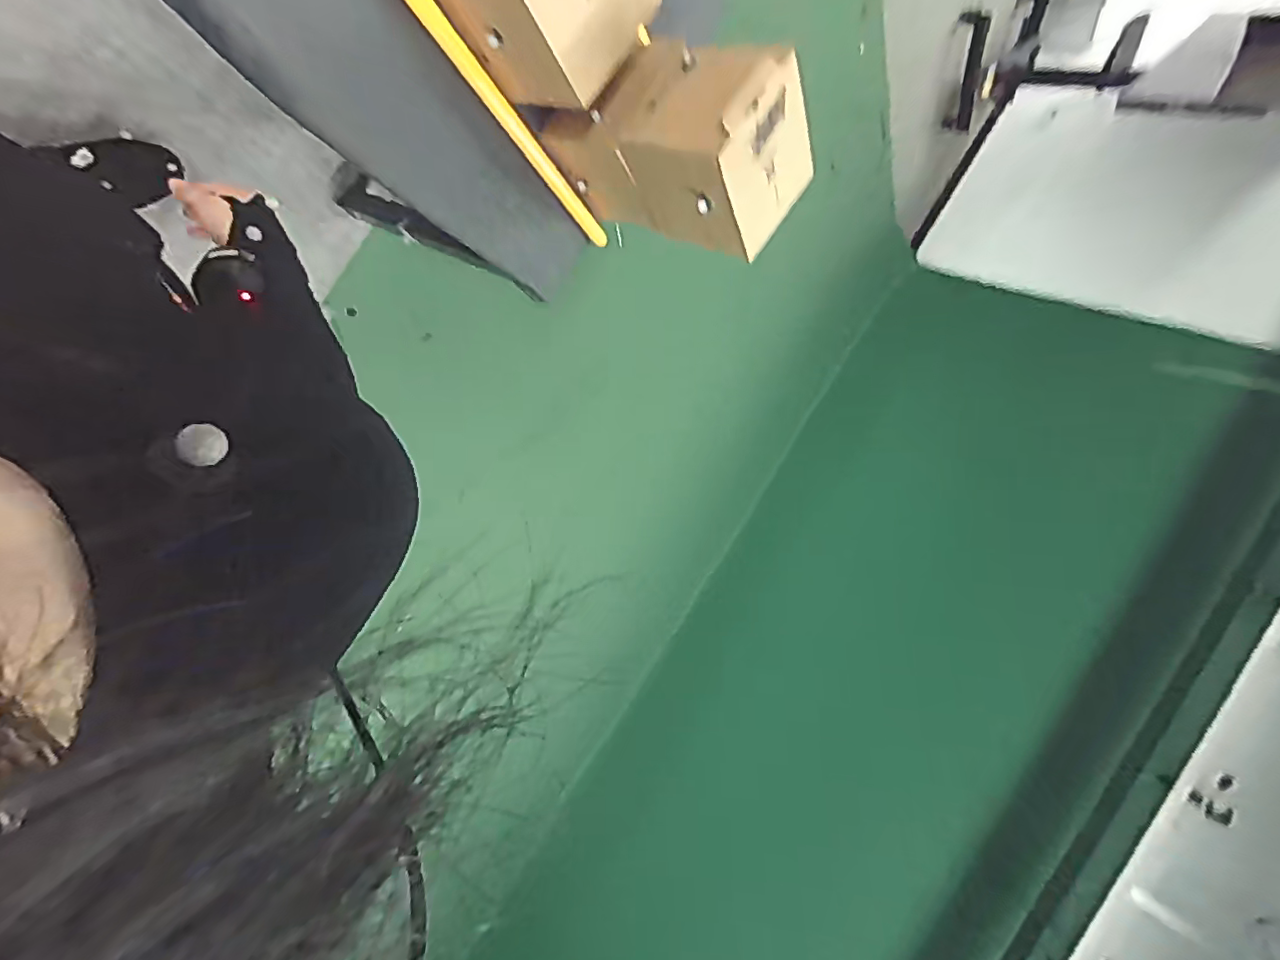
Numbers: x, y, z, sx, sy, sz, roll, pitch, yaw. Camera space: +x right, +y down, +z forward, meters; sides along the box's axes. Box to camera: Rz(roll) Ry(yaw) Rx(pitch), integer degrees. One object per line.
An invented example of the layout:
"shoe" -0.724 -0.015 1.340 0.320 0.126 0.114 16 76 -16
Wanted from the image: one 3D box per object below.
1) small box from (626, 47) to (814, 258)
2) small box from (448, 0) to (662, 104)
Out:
"small box" 0.109 -0.440 0.734 0.168 0.176 0.179 -55 148 -5
"small box" -0.111 -0.583 0.631 0.179 0.176 0.168 -56 147 -3
